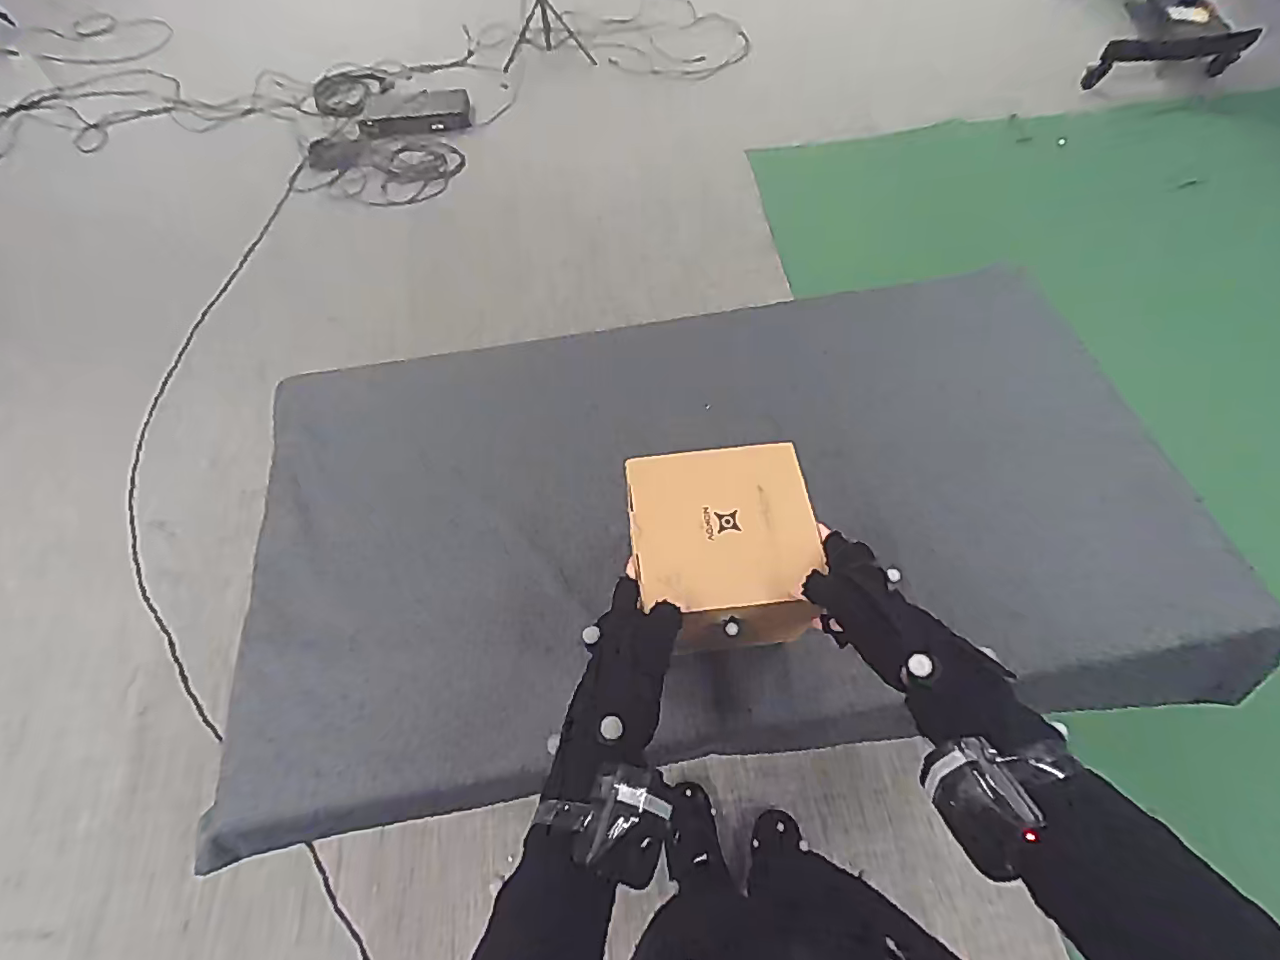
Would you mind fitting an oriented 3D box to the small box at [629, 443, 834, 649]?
[{"bbox_3d":[0.086,0.080,0.601,0.179,0.176,0.168,-7,60,-4],"label":"small box"}]
